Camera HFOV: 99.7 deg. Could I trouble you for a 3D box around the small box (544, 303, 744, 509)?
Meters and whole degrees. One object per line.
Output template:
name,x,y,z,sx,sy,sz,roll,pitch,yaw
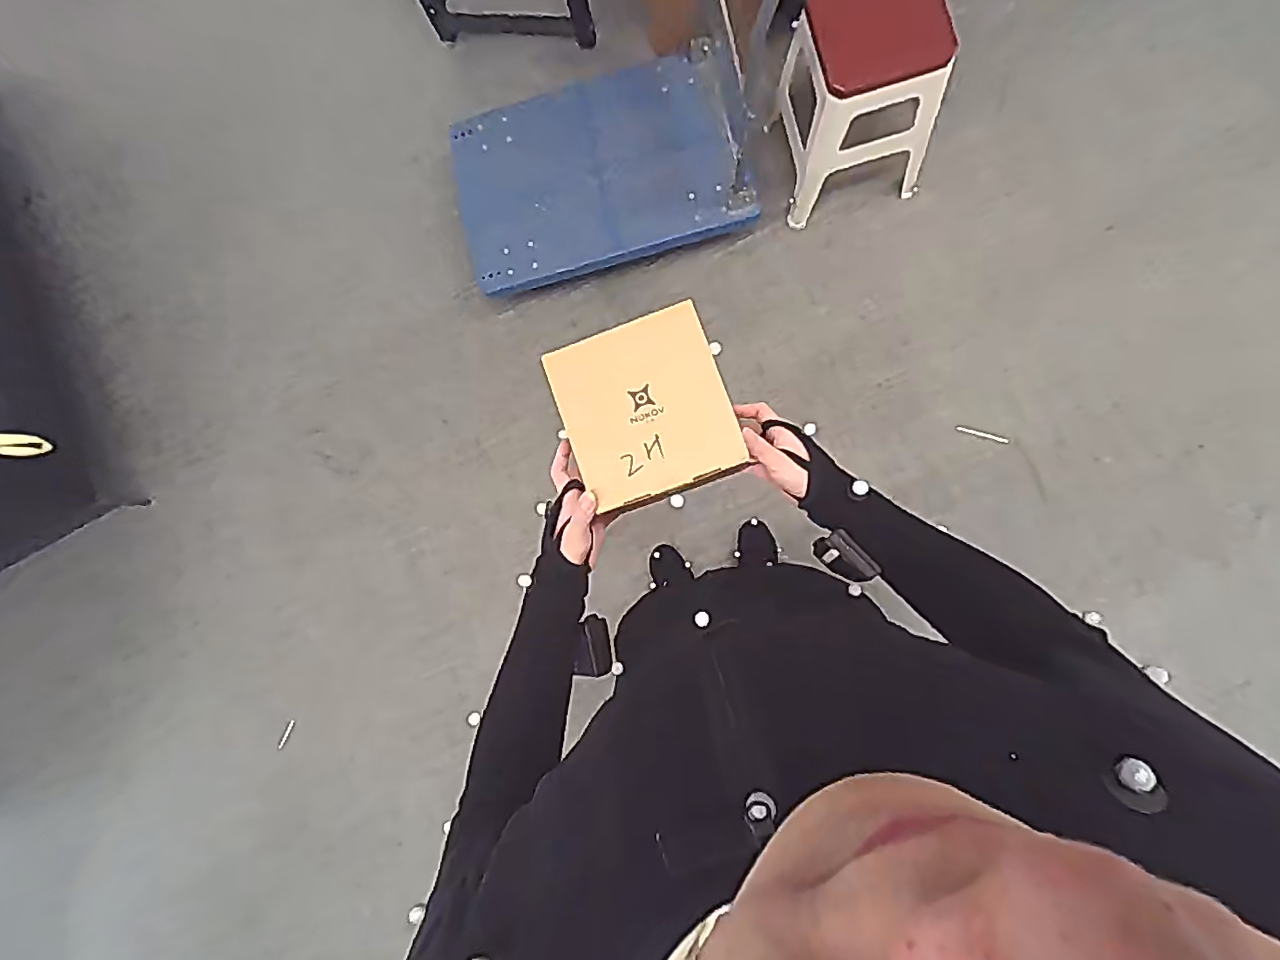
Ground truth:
small box,0.008,-0.071,0.628,0.168,0.176,0.179,-19,85,4

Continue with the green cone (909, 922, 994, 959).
green cone,0.832,1.303,1.285,0.202,0.368,0.200,-25,83,4
